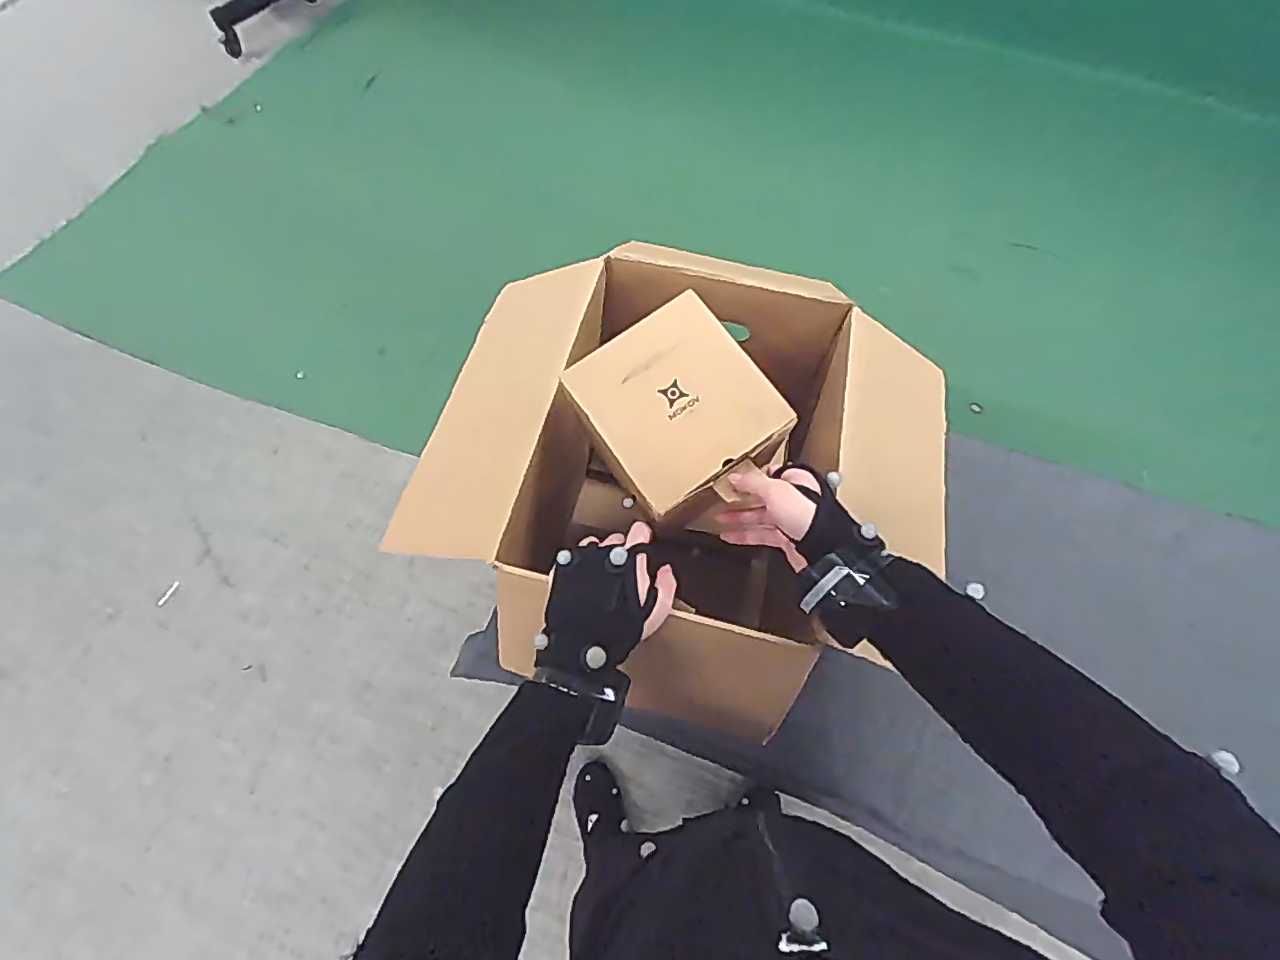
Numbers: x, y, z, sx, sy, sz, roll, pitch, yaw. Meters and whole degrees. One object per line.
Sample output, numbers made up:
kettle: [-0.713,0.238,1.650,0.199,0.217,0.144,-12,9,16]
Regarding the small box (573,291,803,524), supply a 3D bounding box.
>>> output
small box: [0.051,-0.065,0.609,0.168,0.176,0.179,-34,75,-6]
